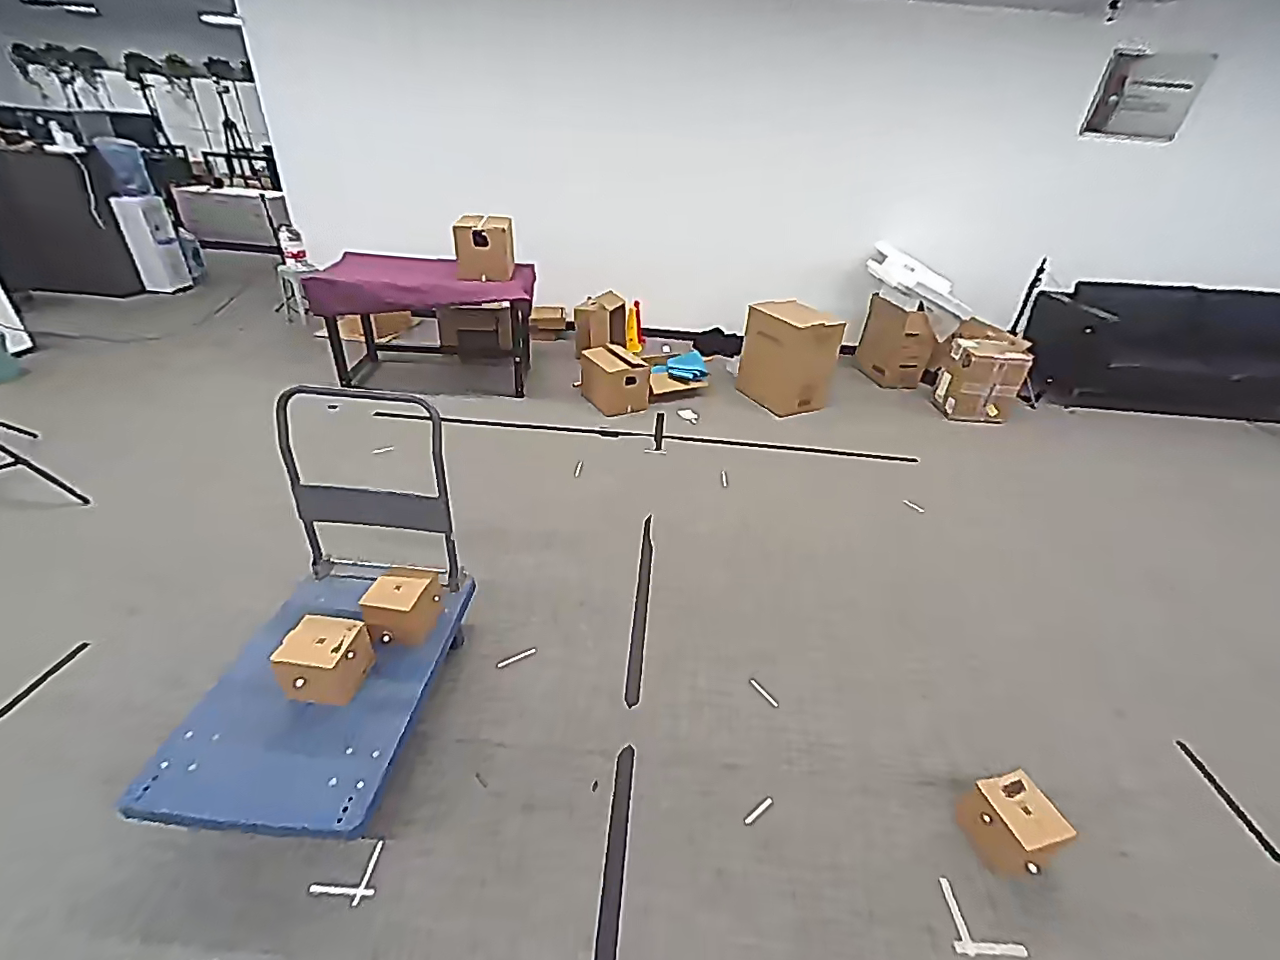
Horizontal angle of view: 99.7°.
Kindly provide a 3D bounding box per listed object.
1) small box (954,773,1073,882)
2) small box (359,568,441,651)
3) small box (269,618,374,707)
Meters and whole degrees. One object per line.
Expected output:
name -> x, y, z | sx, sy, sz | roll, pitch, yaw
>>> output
small box -> 0.995, 0.937, 1.461 | 0.168, 0.176, 0.179 | -5, 34, -15
small box -> -0.748, 0.409, 1.711 | 0.168, 0.176, 0.179 | 6, 34, 6
small box -> -0.885, 0.515, 1.522 | 0.179, 0.176, 0.168 | 5, 33, 3
